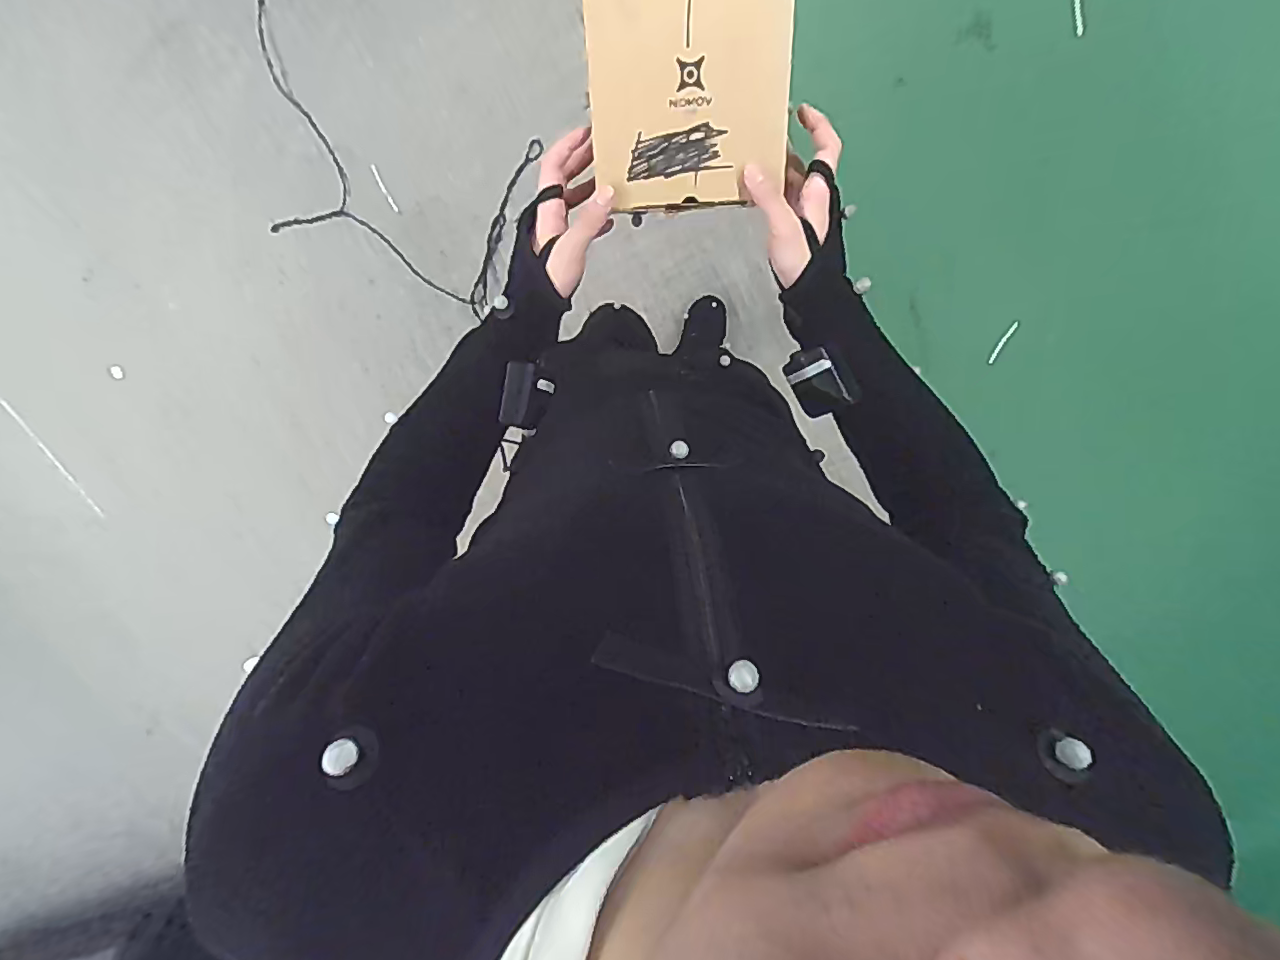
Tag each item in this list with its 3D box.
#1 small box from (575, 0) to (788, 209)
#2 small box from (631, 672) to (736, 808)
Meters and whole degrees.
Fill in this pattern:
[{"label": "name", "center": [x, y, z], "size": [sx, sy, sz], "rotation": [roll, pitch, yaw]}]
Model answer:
[{"label": "small box", "center": [0.035, -0.354, 0.506], "size": [0.168, 0.176, 0.179], "rotation": [-3, 114, 2]}, {"label": "small box", "center": [0.094, 0.544, 1.143], "size": [0.168, 0.176, 0.179], "rotation": [-21, 107, 11]}]
